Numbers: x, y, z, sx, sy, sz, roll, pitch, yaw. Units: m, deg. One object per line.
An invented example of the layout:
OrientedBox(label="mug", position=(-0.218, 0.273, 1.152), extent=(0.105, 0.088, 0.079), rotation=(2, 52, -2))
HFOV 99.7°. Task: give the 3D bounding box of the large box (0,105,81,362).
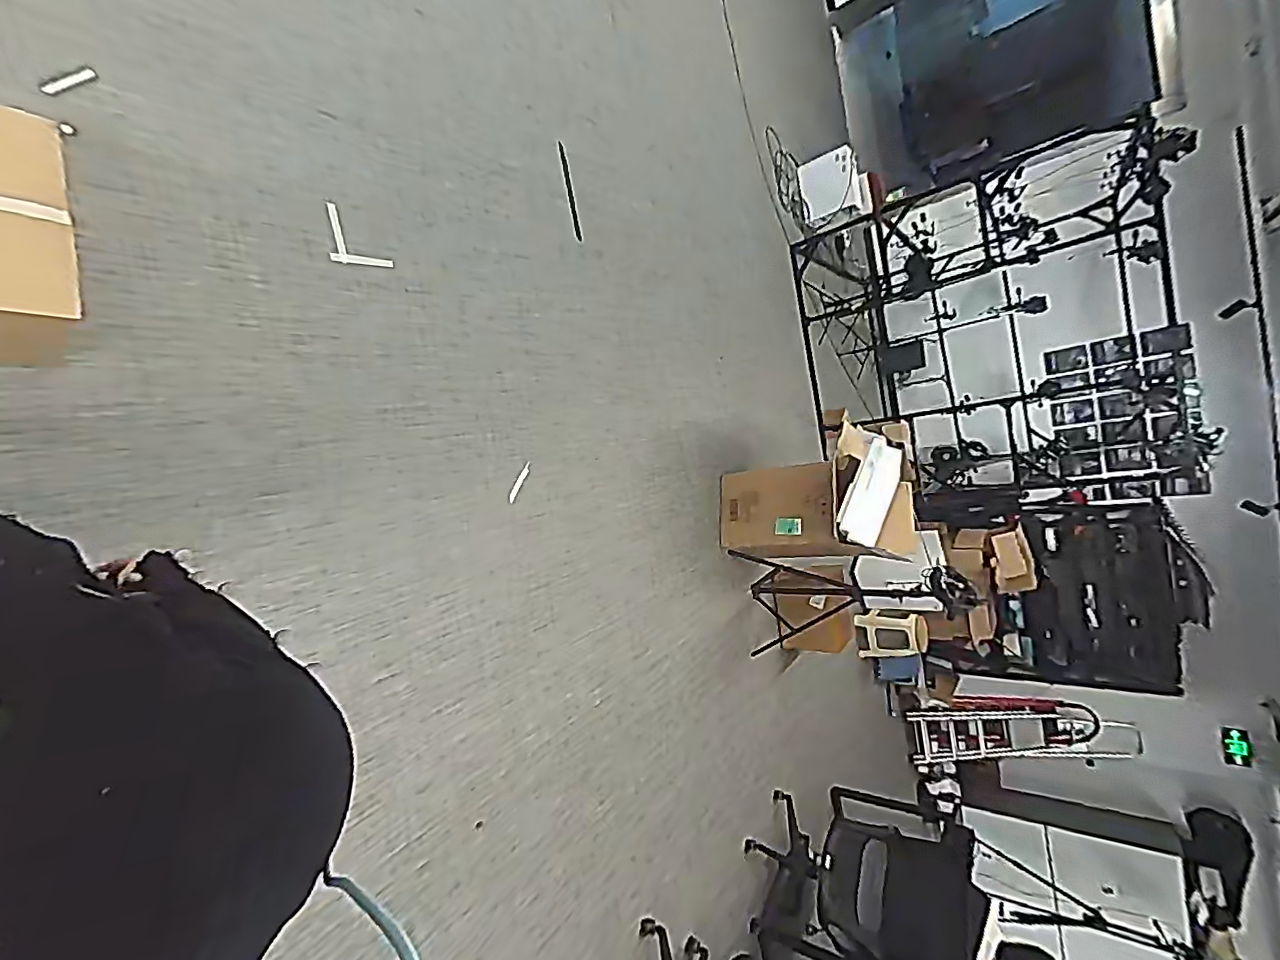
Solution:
OrientedBox(label="large box", position=(-1.119, -0.369, 0.763), extent=(0.408, 0.320, 0.320), rotation=(-6, 89, -53))
